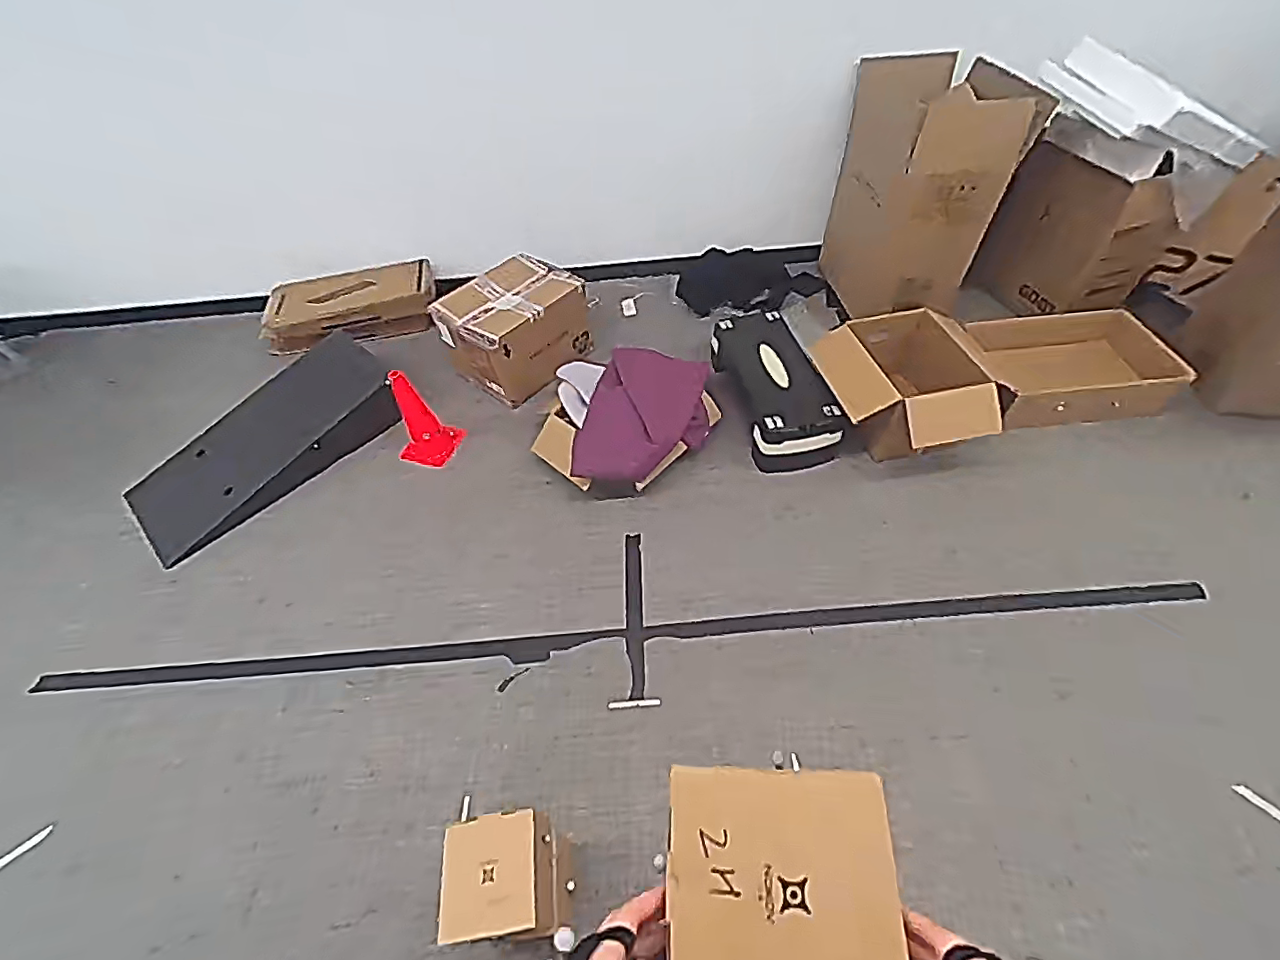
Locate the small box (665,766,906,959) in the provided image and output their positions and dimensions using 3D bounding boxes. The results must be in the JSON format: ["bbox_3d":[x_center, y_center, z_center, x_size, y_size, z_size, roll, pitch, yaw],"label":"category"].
[{"bbox_3d":[0.113,0.354,0.485,0.179,0.176,0.168,0,61,5],"label":"small box"}]

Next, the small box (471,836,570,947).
[{"bbox_3d":[-0.247,0.855,1.121,0.179,0.176,0.168,-6,50,-1],"label":"small box"}]

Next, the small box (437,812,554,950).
[{"bbox_3d":[-0.259,0.742,1.003,0.168,0.176,0.179,-10,52,-2],"label":"small box"}]
